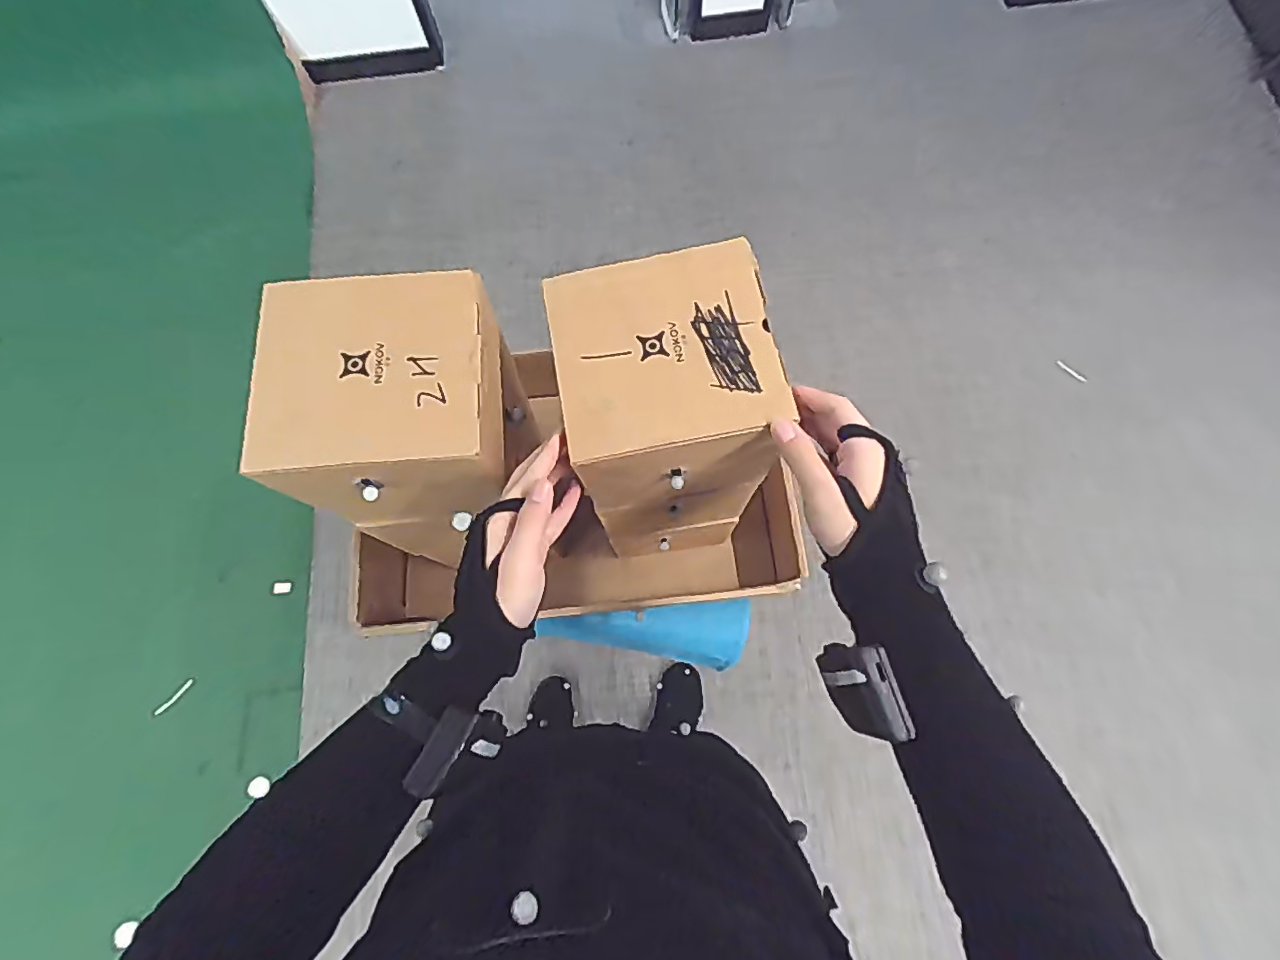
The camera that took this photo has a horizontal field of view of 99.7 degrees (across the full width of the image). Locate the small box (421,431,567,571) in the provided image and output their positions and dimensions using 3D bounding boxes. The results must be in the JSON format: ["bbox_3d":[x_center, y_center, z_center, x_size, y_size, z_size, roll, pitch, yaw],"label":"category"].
[{"bbox_3d":[-0.214,0.040,0.820,0.179,0.176,0.168,-6,73,-2],"label":"small box"}]

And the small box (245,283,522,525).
[{"bbox_3d":[-0.216,-0.058,0.506,0.179,0.176,0.168,-5,73,-2],"label":"small box"}]

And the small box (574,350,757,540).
[{"bbox_3d":[0.029,-0.031,0.659,0.179,0.176,0.168,-11,73,0],"label":"small box"}]

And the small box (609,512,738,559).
[{"bbox_3d":[0.041,0.017,0.815,0.179,0.176,0.168,-11,73,2],"label":"small box"}]
